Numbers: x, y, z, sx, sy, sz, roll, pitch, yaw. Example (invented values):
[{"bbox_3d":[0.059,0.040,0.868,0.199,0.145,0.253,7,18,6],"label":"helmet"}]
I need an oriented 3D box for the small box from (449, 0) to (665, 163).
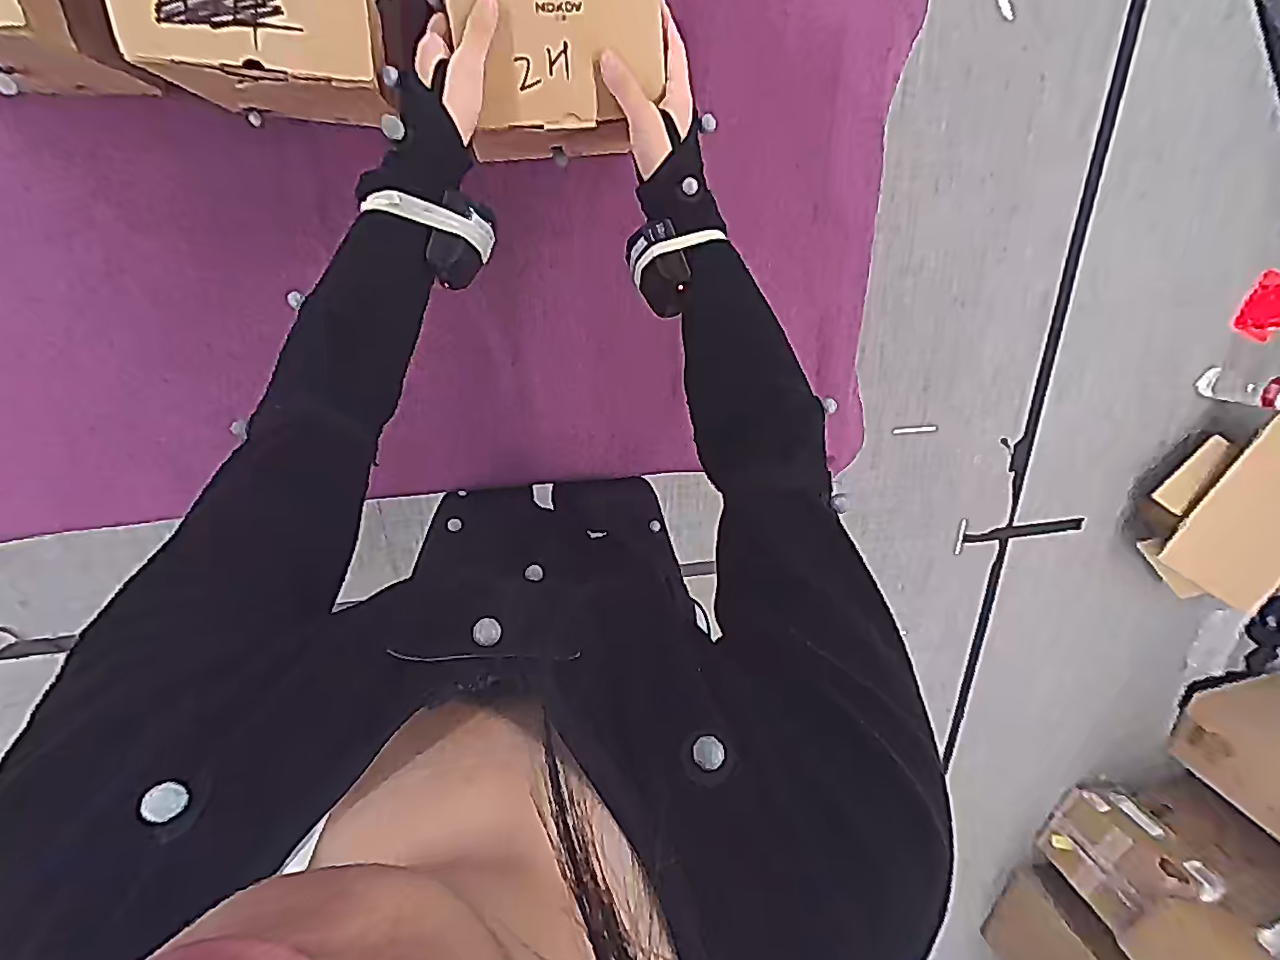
[{"bbox_3d":[-0.081,-0.400,0.485,0.168,0.176,0.179,-9,114,-9],"label":"small box"}]
